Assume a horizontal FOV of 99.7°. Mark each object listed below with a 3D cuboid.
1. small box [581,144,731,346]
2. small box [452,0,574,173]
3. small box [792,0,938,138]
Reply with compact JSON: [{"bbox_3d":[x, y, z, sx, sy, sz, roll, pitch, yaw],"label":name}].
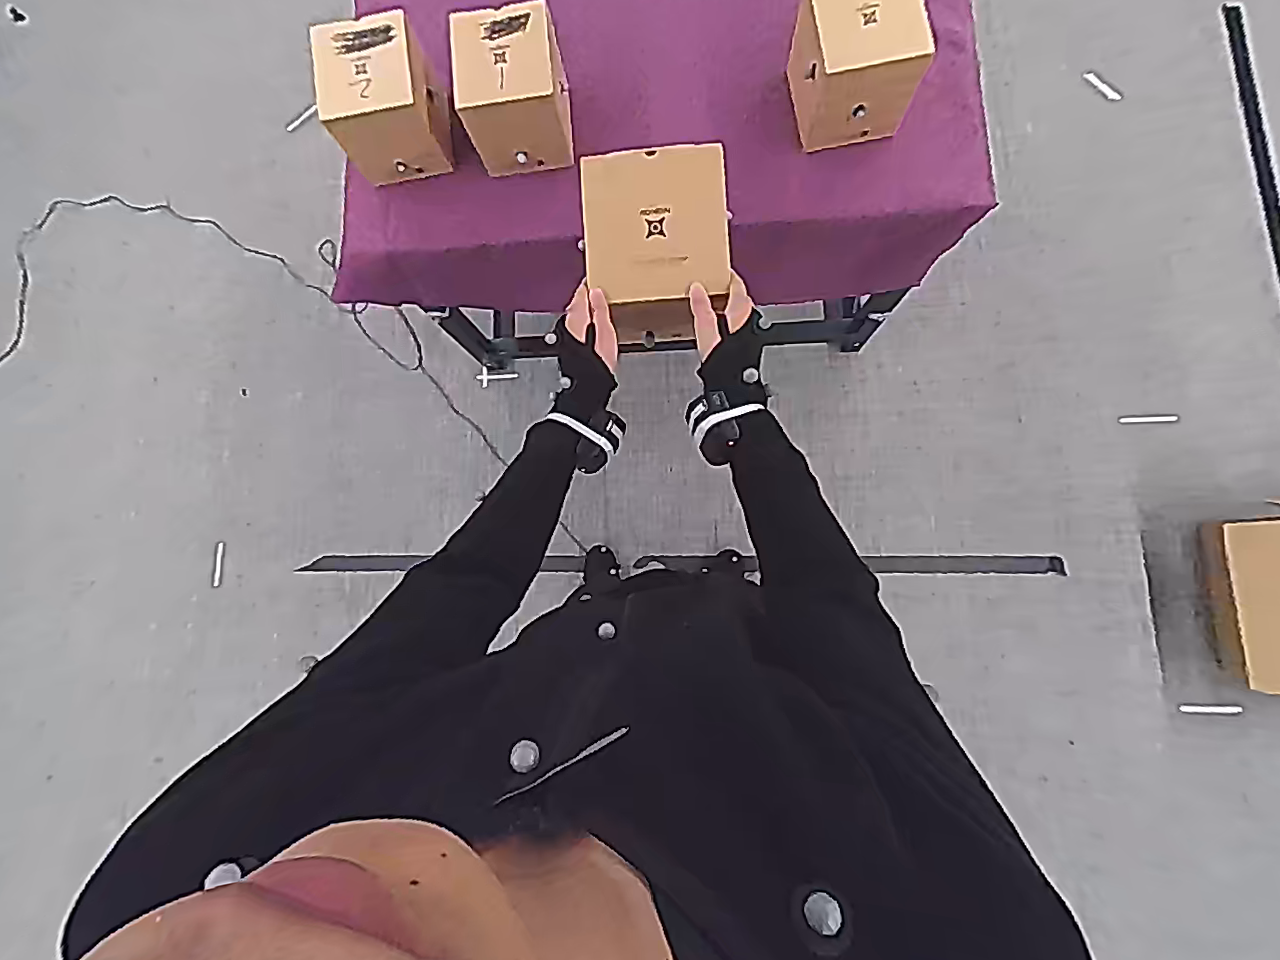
[{"bbox_3d":[0.021,-0.284,0.686,0.168,0.176,0.179,-3,88,4],"label":"small box"},{"bbox_3d":[-0.217,-0.683,0.952,0.168,0.176,0.179,-6,83,5],"label":"small box"},{"bbox_3d":[0.362,-0.707,0.900,0.168,0.176,0.179,-8,81,4],"label":"small box"}]
